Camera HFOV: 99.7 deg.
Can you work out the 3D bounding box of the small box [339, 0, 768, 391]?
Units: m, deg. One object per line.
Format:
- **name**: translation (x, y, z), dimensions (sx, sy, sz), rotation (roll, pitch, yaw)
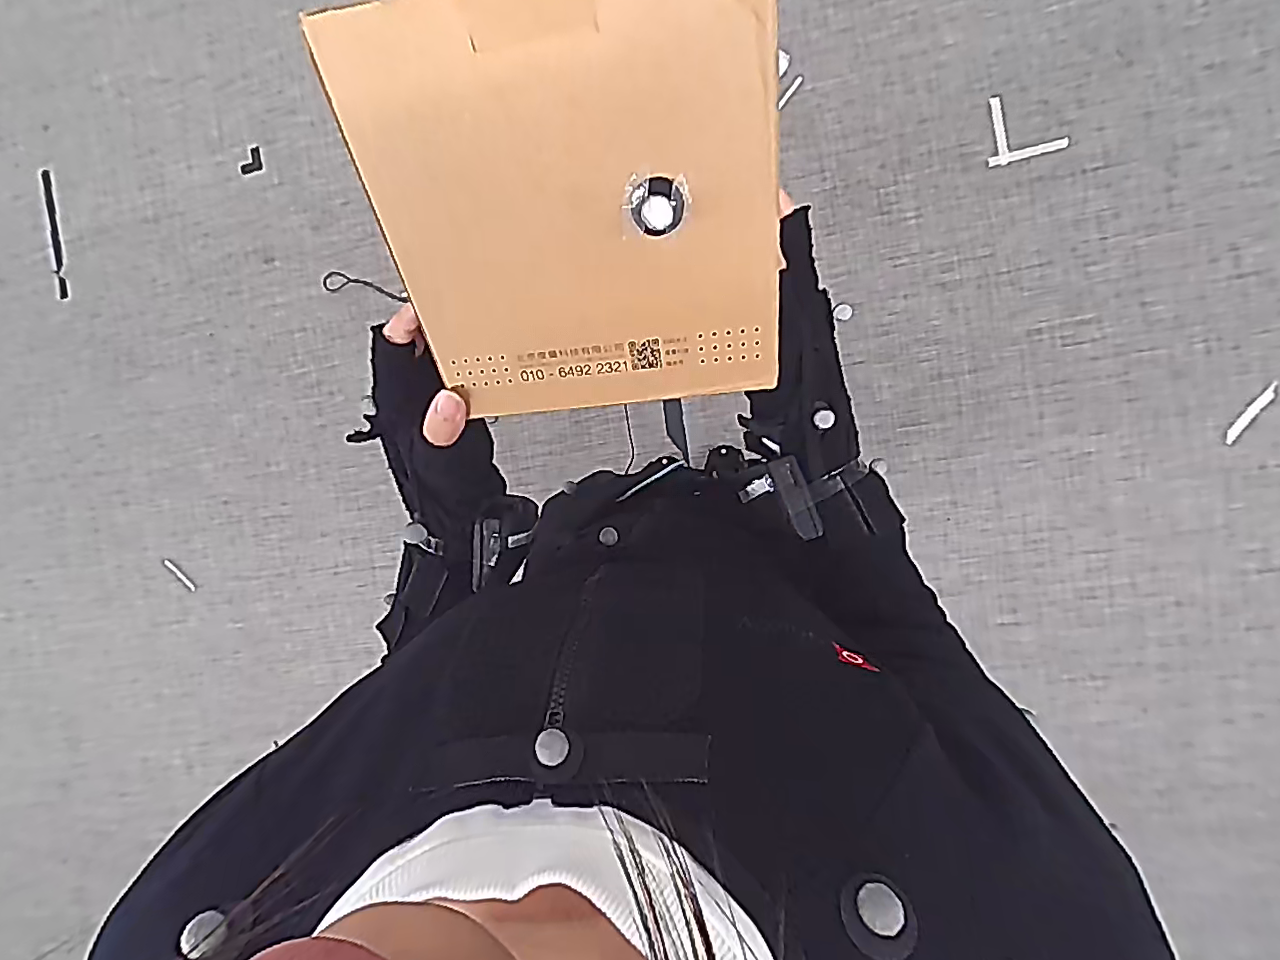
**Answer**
- **small box**: translation (-0.018, -0.160, 0.308), dimensions (0.168, 0.179, 0.176), rotation (-3, 128, 9)
